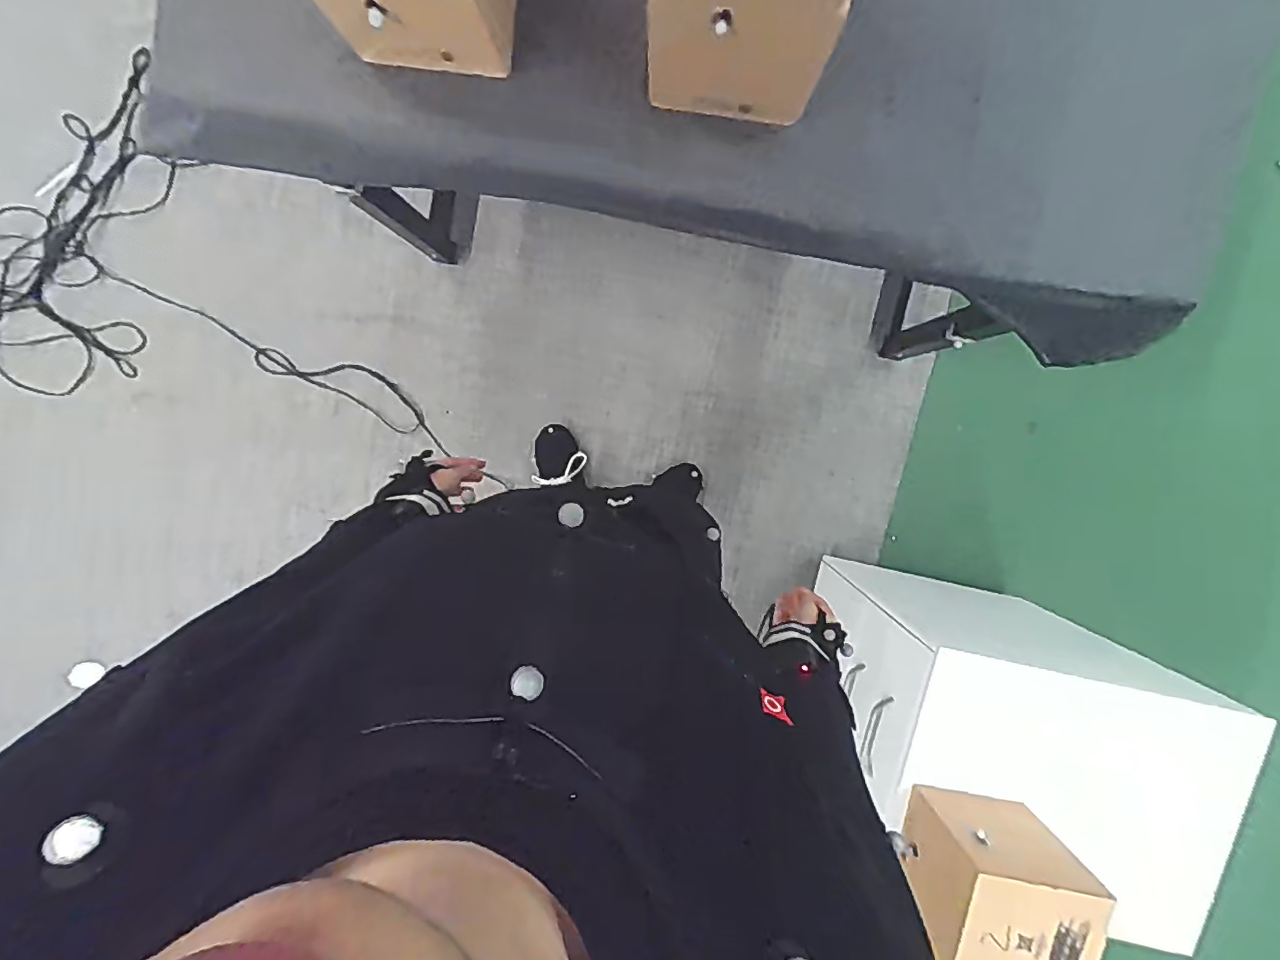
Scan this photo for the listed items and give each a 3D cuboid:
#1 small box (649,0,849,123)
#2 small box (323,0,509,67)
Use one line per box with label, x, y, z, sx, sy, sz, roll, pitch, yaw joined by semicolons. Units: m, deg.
small box;0.101;-0.482;0.506;0.168;0.176;0.179;9;96;0
small box;-0.219;-0.533;0.505;0.168;0.176;0.179;7;96;0
